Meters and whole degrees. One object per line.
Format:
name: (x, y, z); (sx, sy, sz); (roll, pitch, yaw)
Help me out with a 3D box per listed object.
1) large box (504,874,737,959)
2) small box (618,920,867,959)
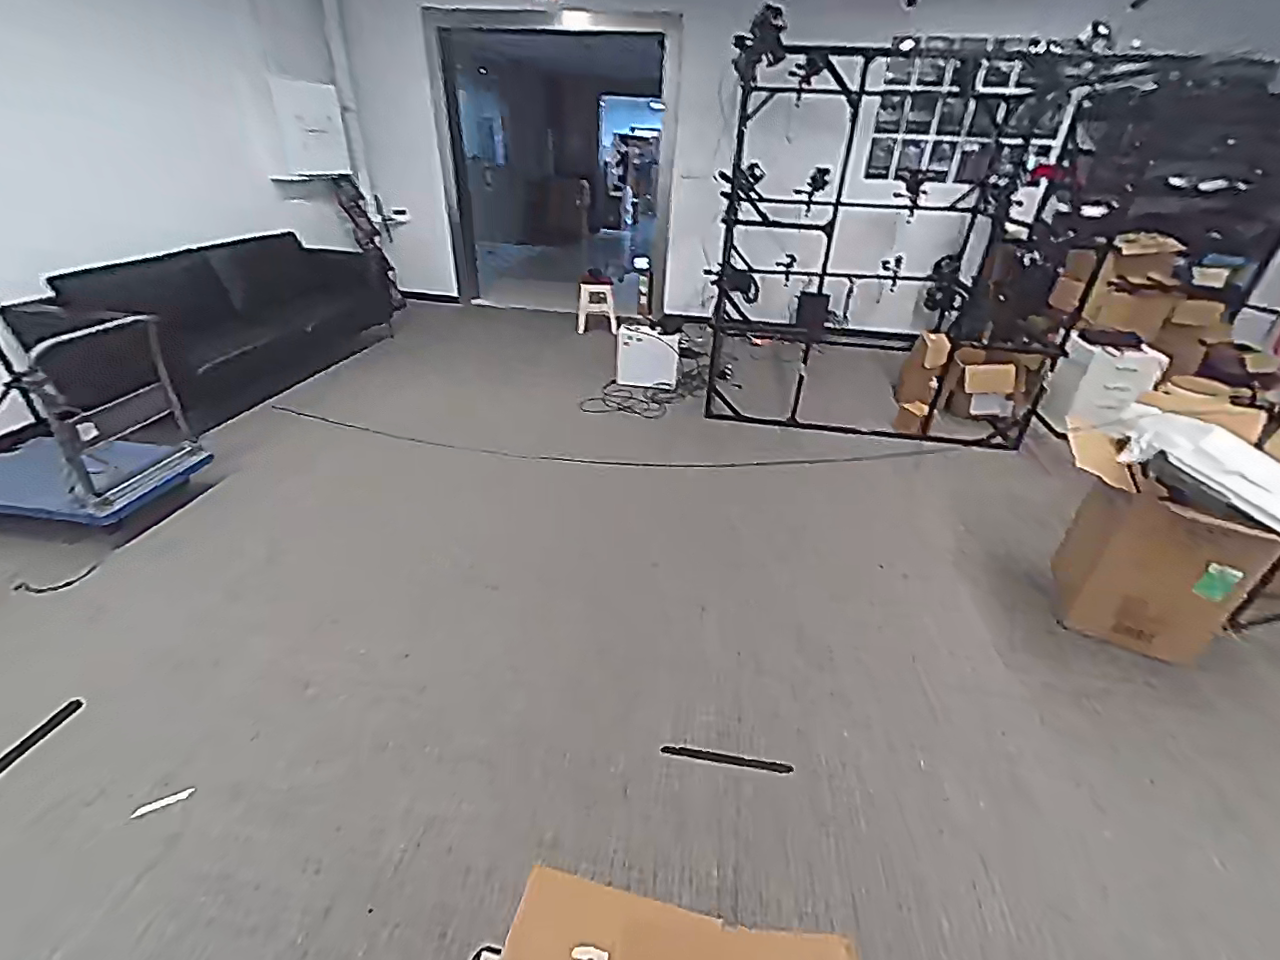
large box: (-0.021, 0.895, 0.833); (0.408, 0.320, 0.320); (8, 31, 11)
small box: (0.062, 0.427, 0.363); (0.179, 0.176, 0.168); (5, 35, -3)
